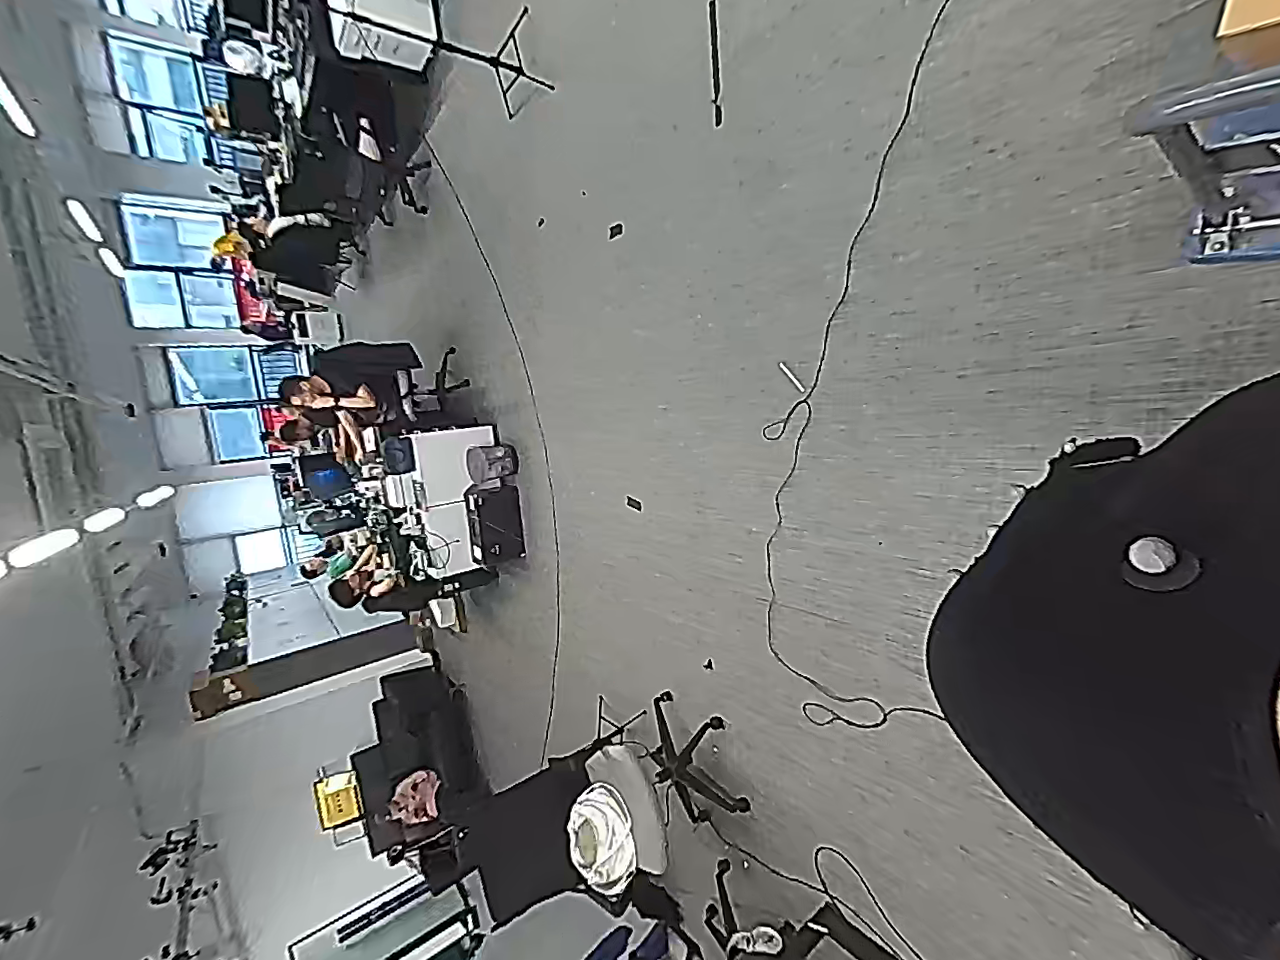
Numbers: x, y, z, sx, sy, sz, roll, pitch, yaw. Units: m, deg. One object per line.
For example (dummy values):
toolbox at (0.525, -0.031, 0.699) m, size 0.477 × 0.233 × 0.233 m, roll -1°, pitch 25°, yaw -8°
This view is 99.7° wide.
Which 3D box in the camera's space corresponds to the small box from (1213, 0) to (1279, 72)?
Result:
small box at (0.931, -0.689, 0.728) m, size 0.179 × 0.176 × 0.168 m, roll 20°, pitch 114°, yaw 48°
